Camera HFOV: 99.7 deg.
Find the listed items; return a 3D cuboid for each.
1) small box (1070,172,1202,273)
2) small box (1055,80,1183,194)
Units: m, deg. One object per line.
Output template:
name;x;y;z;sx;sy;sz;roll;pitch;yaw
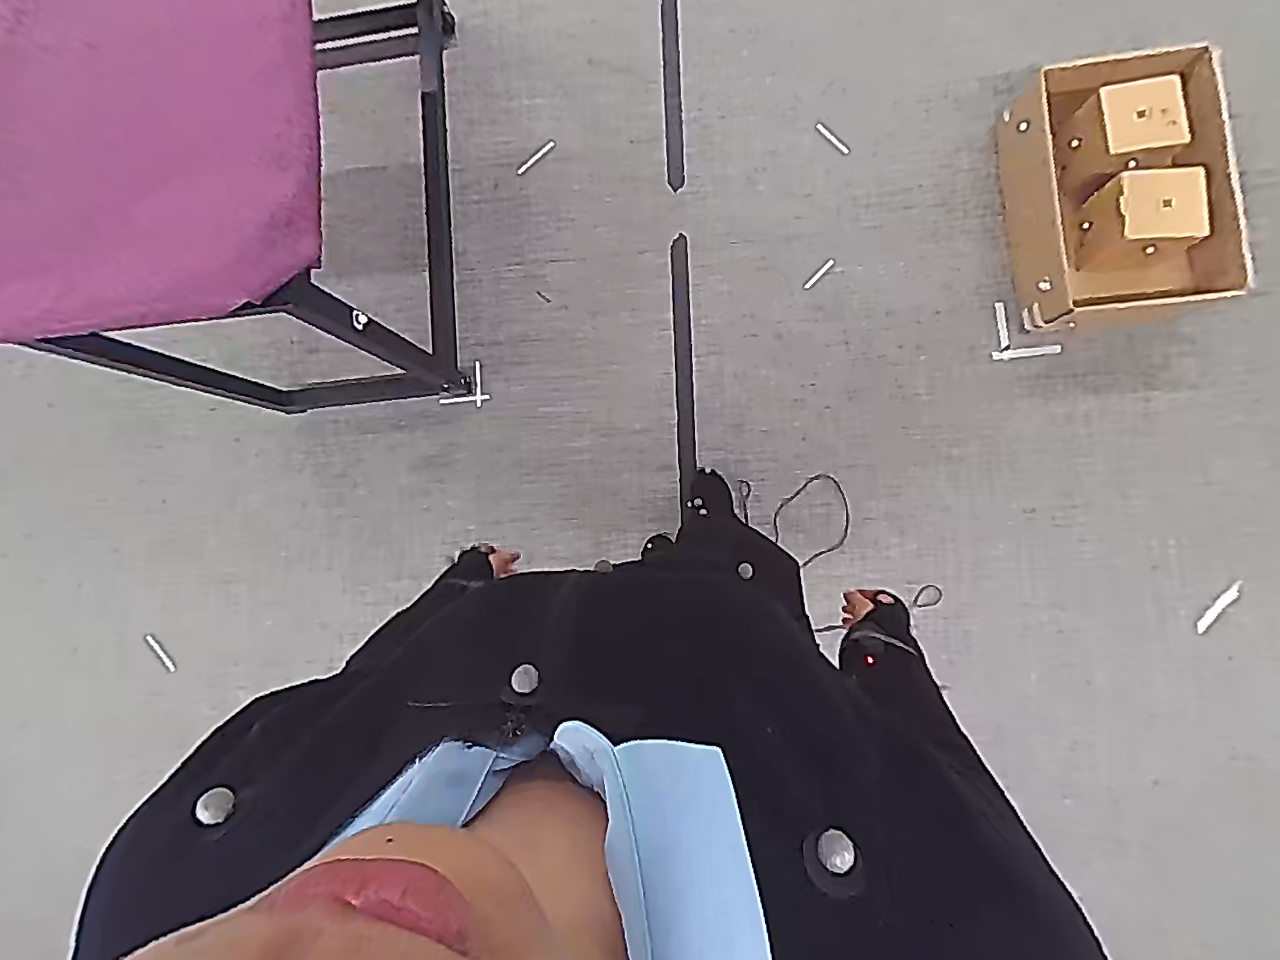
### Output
small box;1.205;-0.624;1.325;0.179;0.176;0.168;1;86;6
small box;1.170;-0.838;1.340;0.179;0.176;0.168;-6;87;5
